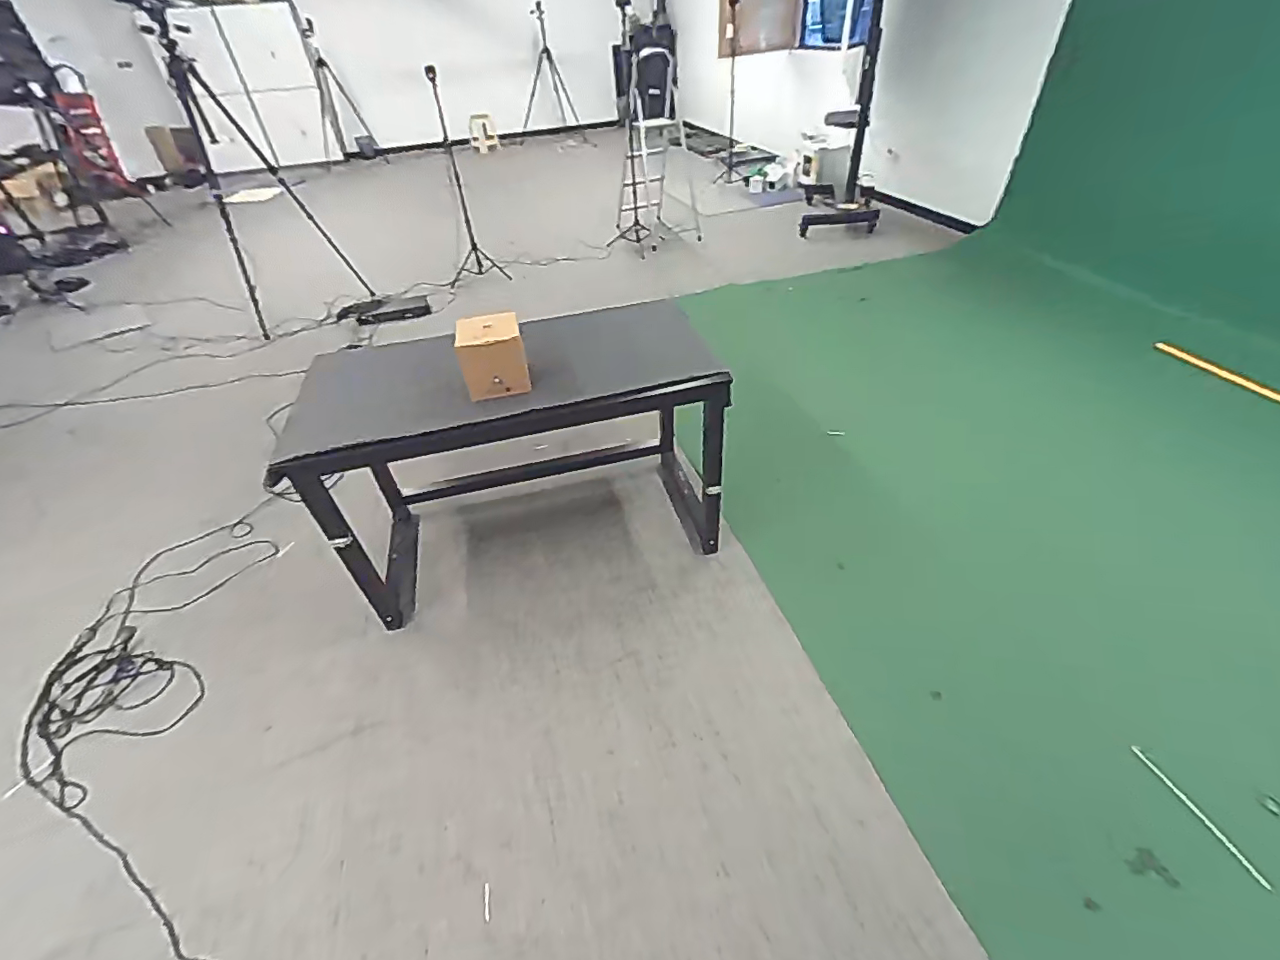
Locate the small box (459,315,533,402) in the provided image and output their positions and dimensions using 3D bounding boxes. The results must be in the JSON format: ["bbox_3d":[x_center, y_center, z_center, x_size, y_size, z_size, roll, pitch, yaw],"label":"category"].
[{"bbox_3d":[-0.398,-0.341,1.513,0.168,0.176,0.179,-11,40,-7],"label":"small box"}]
